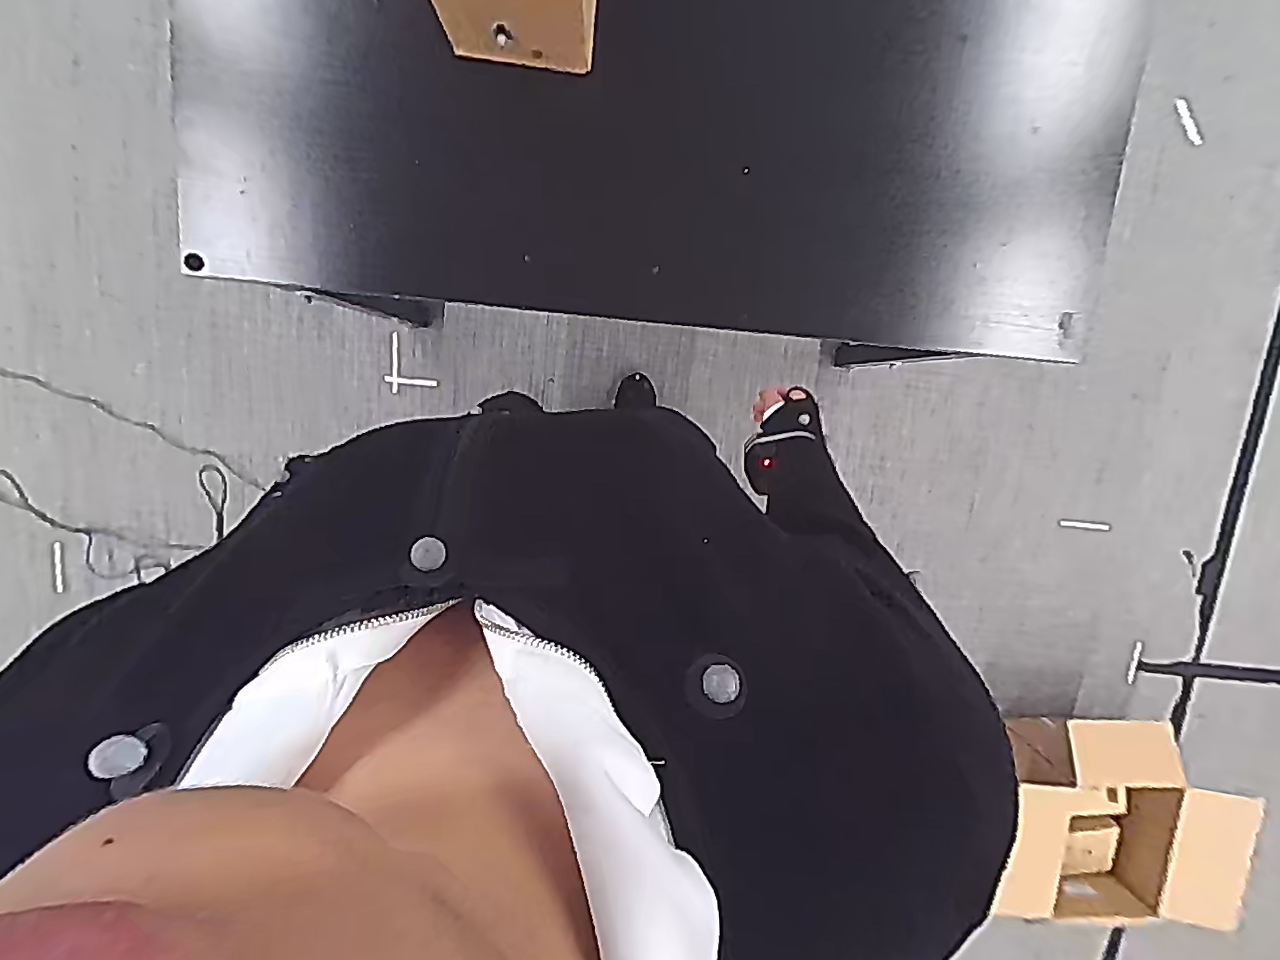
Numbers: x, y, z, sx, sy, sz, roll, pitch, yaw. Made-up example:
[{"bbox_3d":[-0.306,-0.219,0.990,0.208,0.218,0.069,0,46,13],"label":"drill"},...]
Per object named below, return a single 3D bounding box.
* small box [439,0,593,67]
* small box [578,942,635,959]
[{"bbox_3d":[-0.133,-0.590,0.570,0.168,0.176,0.179,6,100,-4],"label":"small box"},{"bbox_3d":[-0.109,1.547,1.629,0.179,0.176,0.168,8,97,-3],"label":"small box"}]
